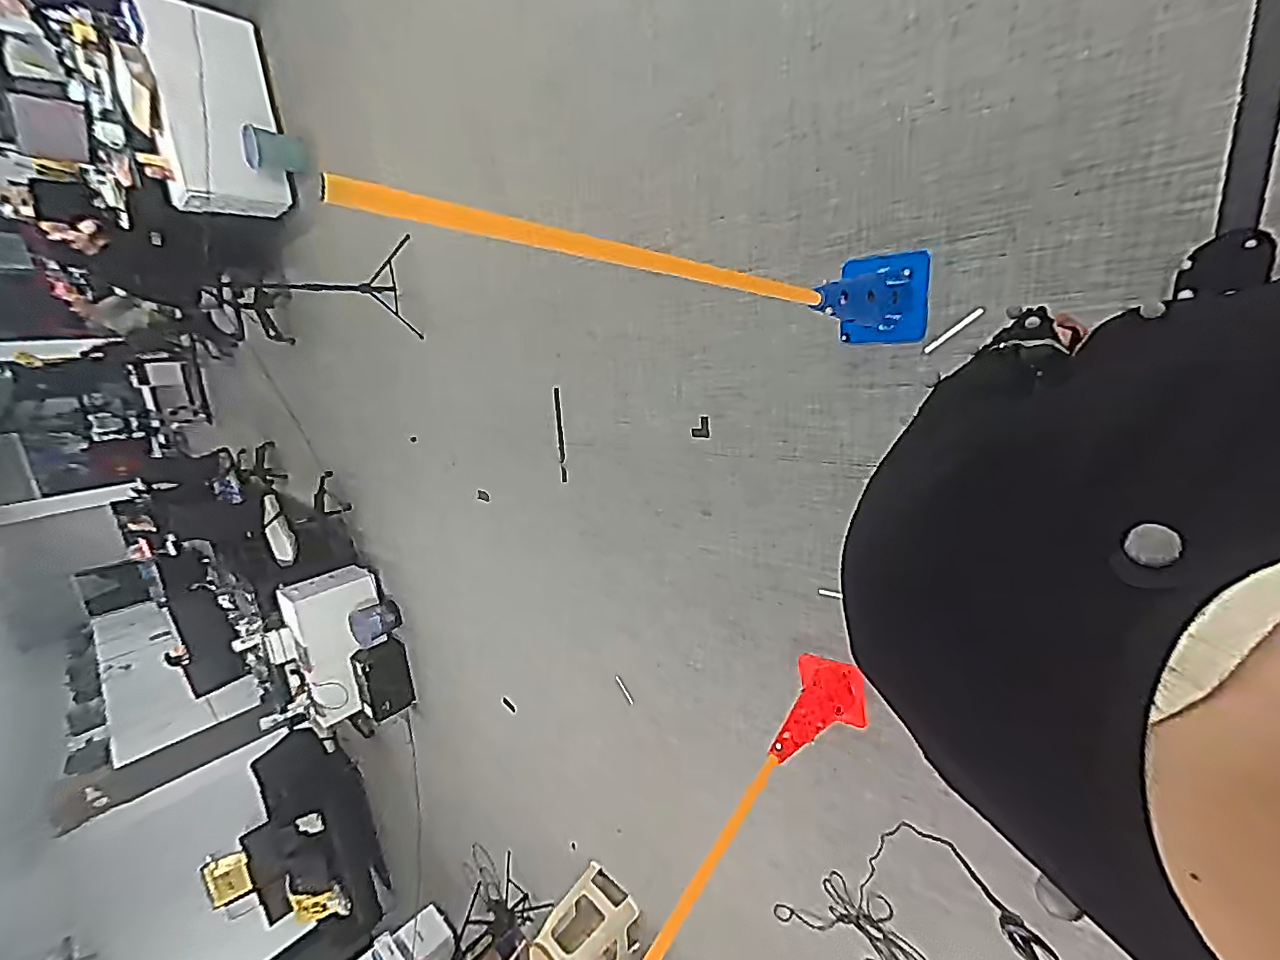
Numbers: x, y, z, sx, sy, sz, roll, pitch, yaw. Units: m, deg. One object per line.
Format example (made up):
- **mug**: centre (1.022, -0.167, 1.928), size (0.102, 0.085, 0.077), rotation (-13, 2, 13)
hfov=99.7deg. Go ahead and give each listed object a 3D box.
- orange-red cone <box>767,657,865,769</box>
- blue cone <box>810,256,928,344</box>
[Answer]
- **orange-red cone**: centre (0.459, 0.677, 1.500), size (0.199, 0.360, 0.198), rotation (1, 105, 43)
- **blue cone**: centre (0.466, -0.382, 1.165), size (0.193, 0.380, 0.192), rotation (12, 112, 42)
